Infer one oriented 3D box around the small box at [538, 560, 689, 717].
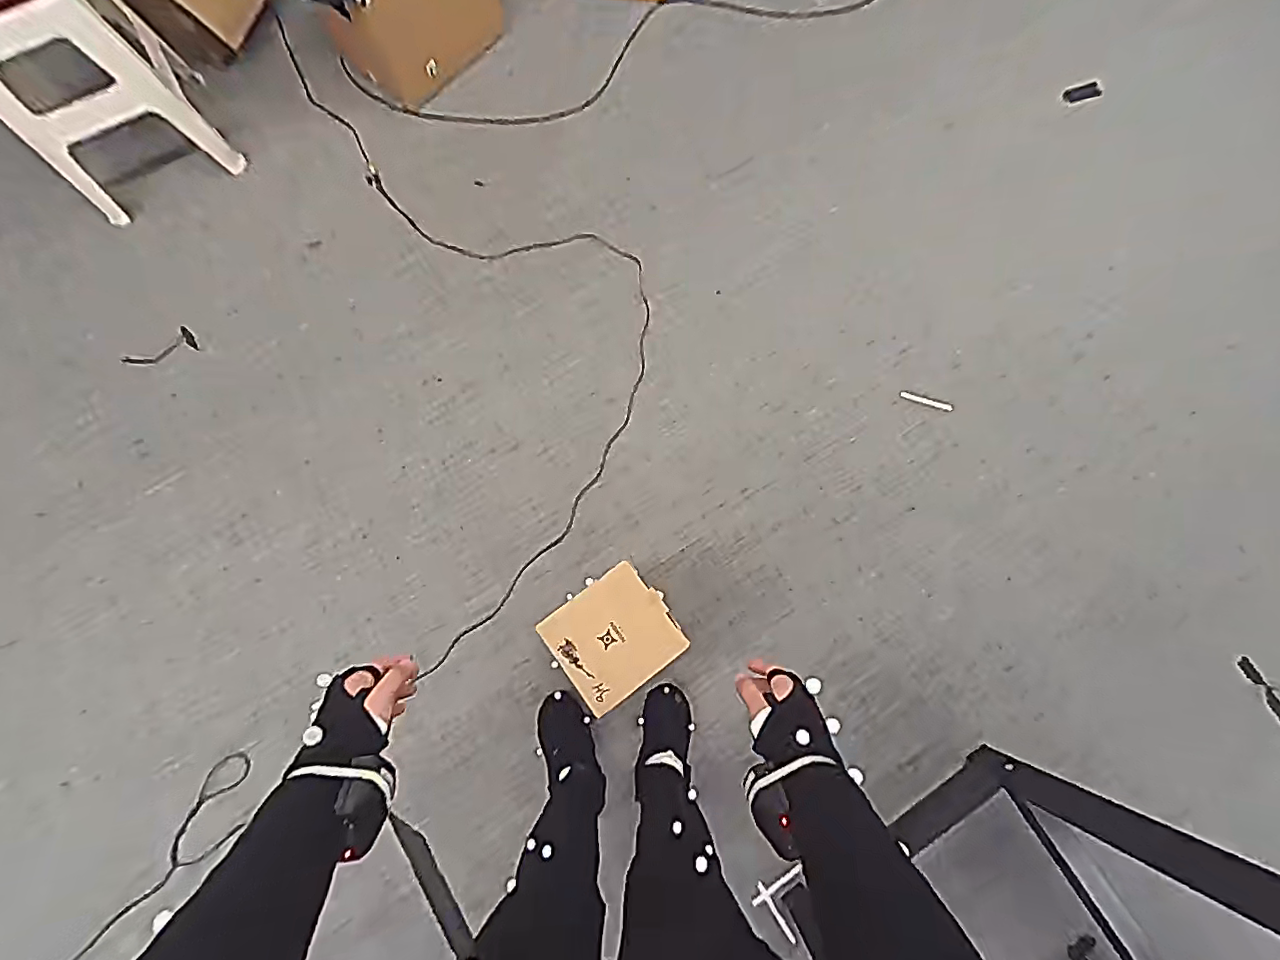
[{"bbox_3d":[-0.044,0.252,0.892,0.179,0.176,0.168,-36,80,-9],"label":"small box"}]
